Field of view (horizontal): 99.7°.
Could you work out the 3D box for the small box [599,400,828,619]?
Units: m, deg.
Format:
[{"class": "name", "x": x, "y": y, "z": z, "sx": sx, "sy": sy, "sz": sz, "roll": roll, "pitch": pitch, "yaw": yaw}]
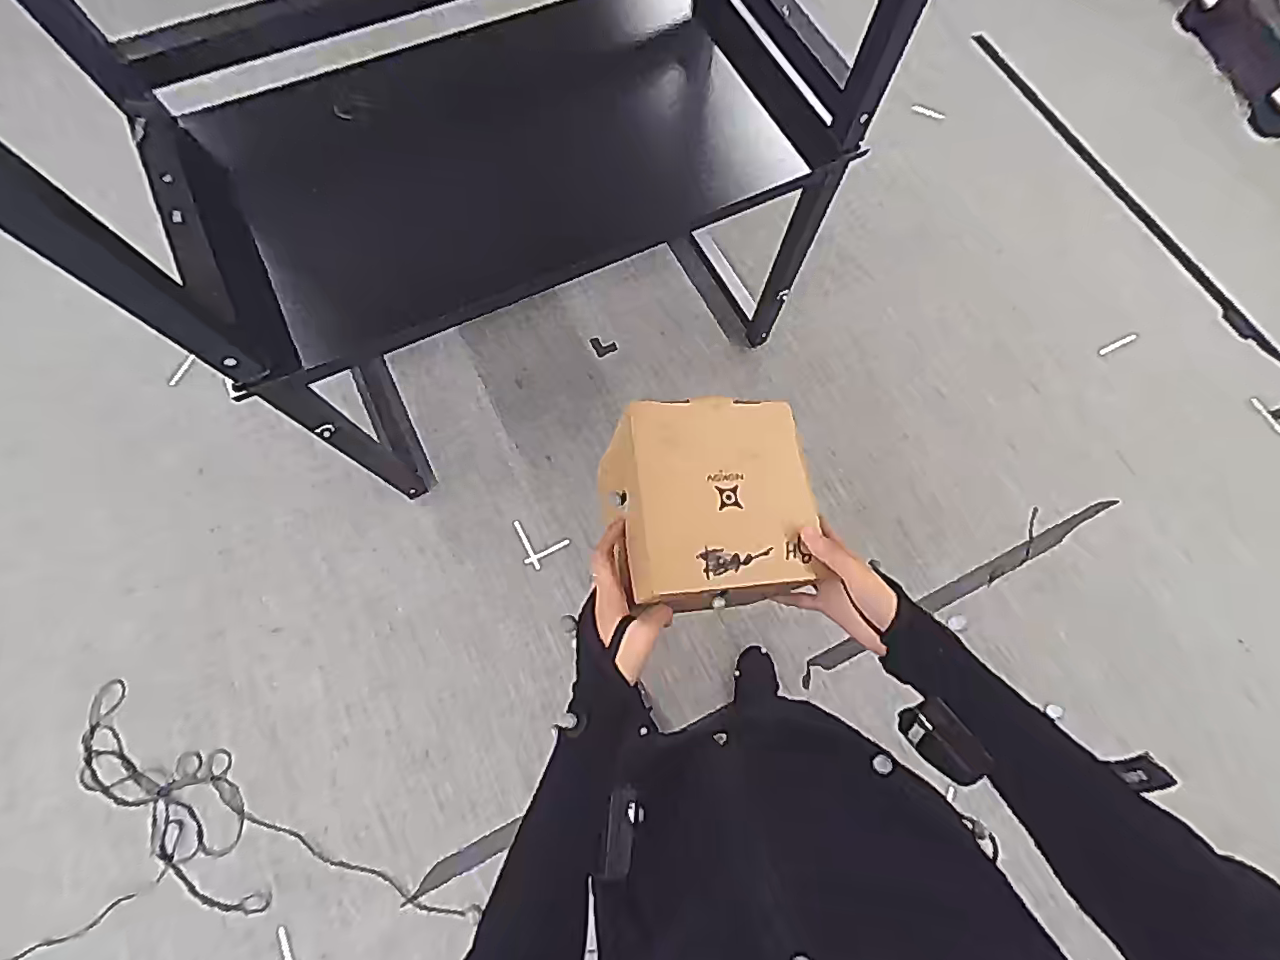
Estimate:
[{"class": "small box", "x": 0.057, "y": 0.036, "z": 0.551, "sx": 0.168, "sy": 0.176, "sz": 0.179, "roll": -2, "pitch": 70, "yaw": -15}]
